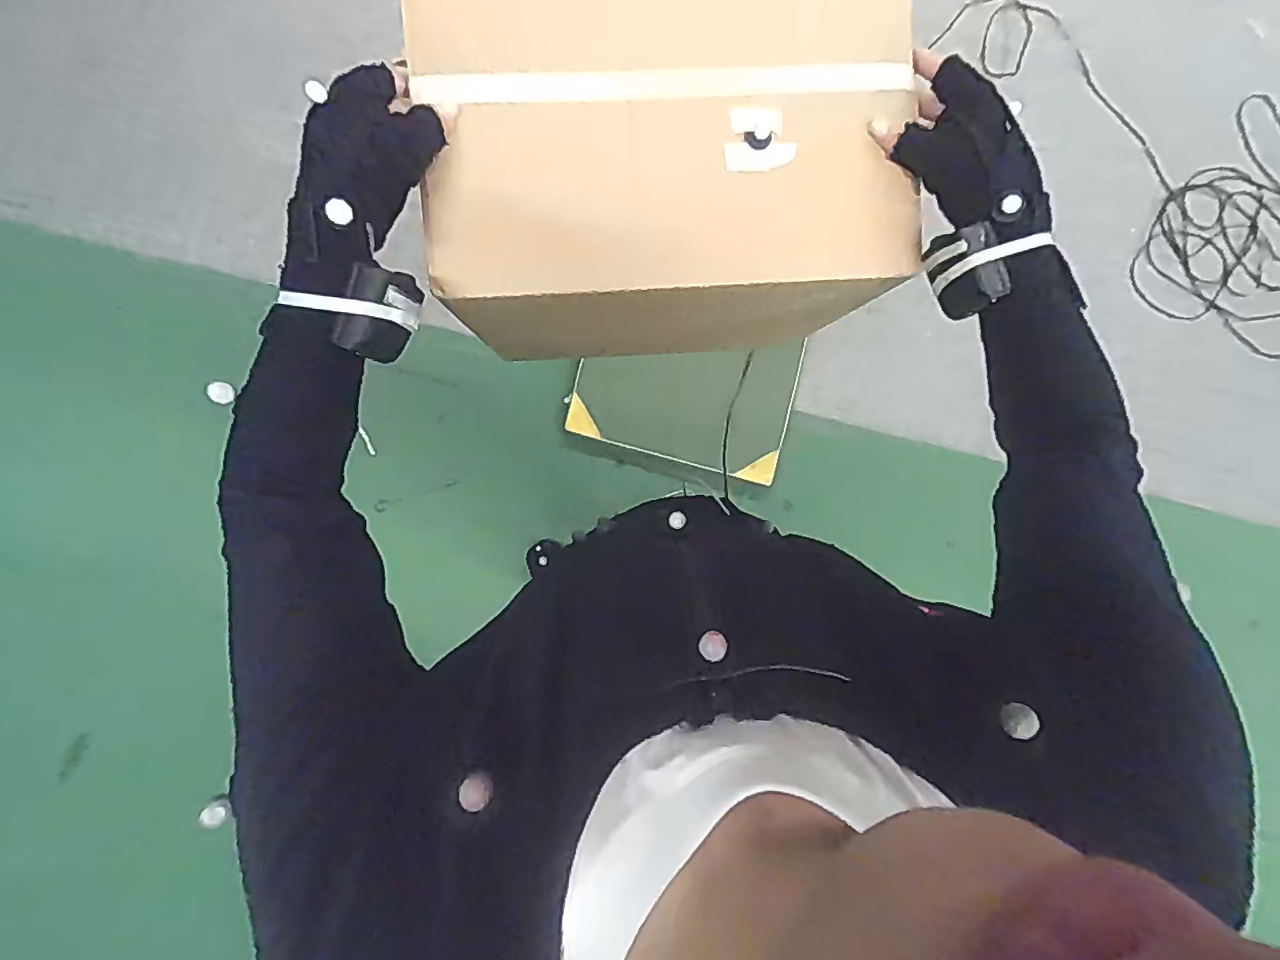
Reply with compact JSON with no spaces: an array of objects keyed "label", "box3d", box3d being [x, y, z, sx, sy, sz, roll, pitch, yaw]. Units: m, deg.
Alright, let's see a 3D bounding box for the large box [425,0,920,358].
[{"label":"large box","box3d":[0.020,-0.327,0.593,0.408,0.320,0.320,-5,94,-5]}]
